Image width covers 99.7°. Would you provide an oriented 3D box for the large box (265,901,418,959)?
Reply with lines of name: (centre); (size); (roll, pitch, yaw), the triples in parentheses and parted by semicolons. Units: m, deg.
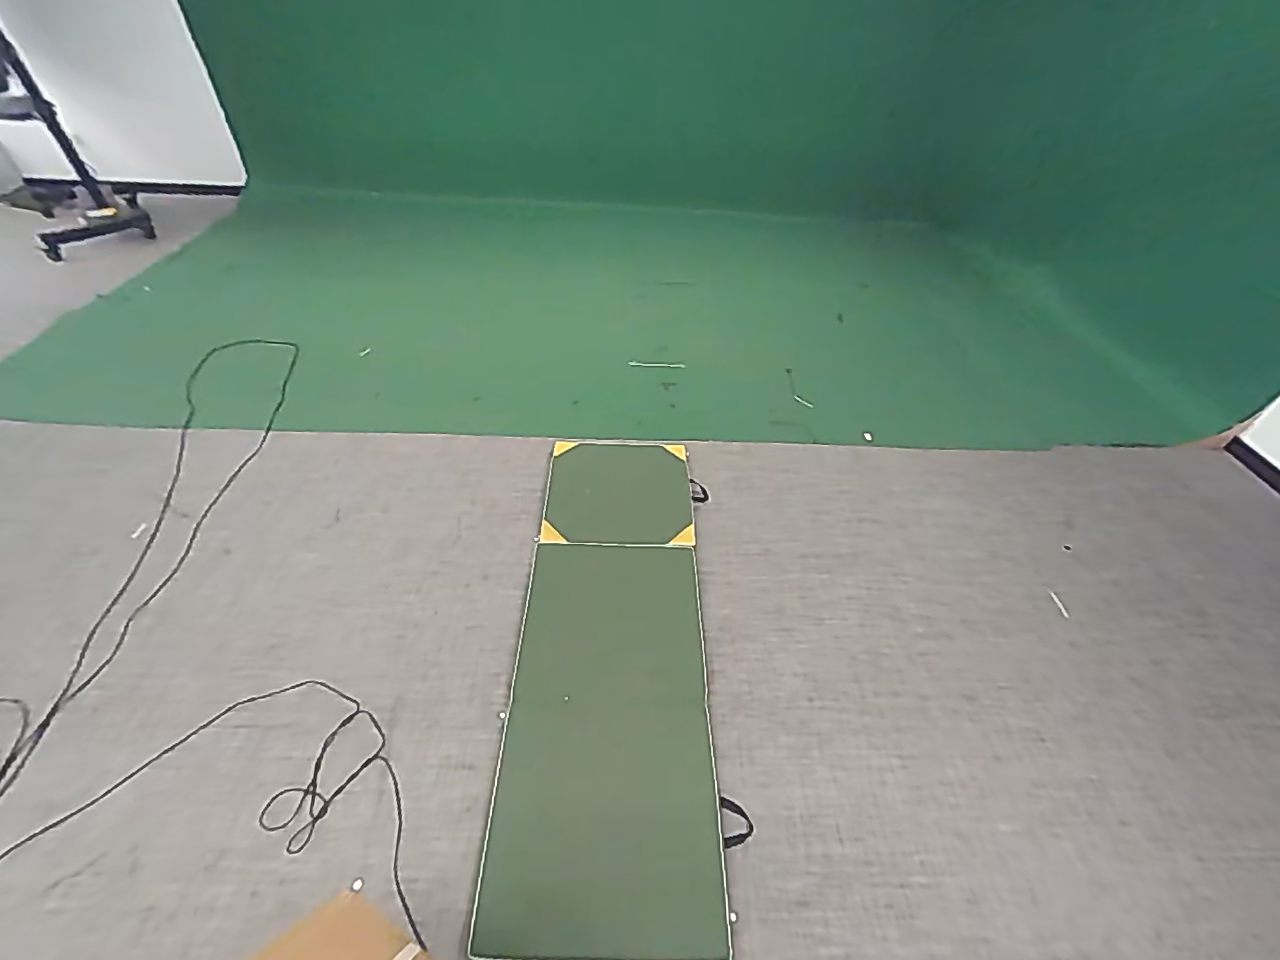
large box: (-0.475, 0.868, 0.667); (0.320, 0.408, 0.320); (26, 87, 17)
